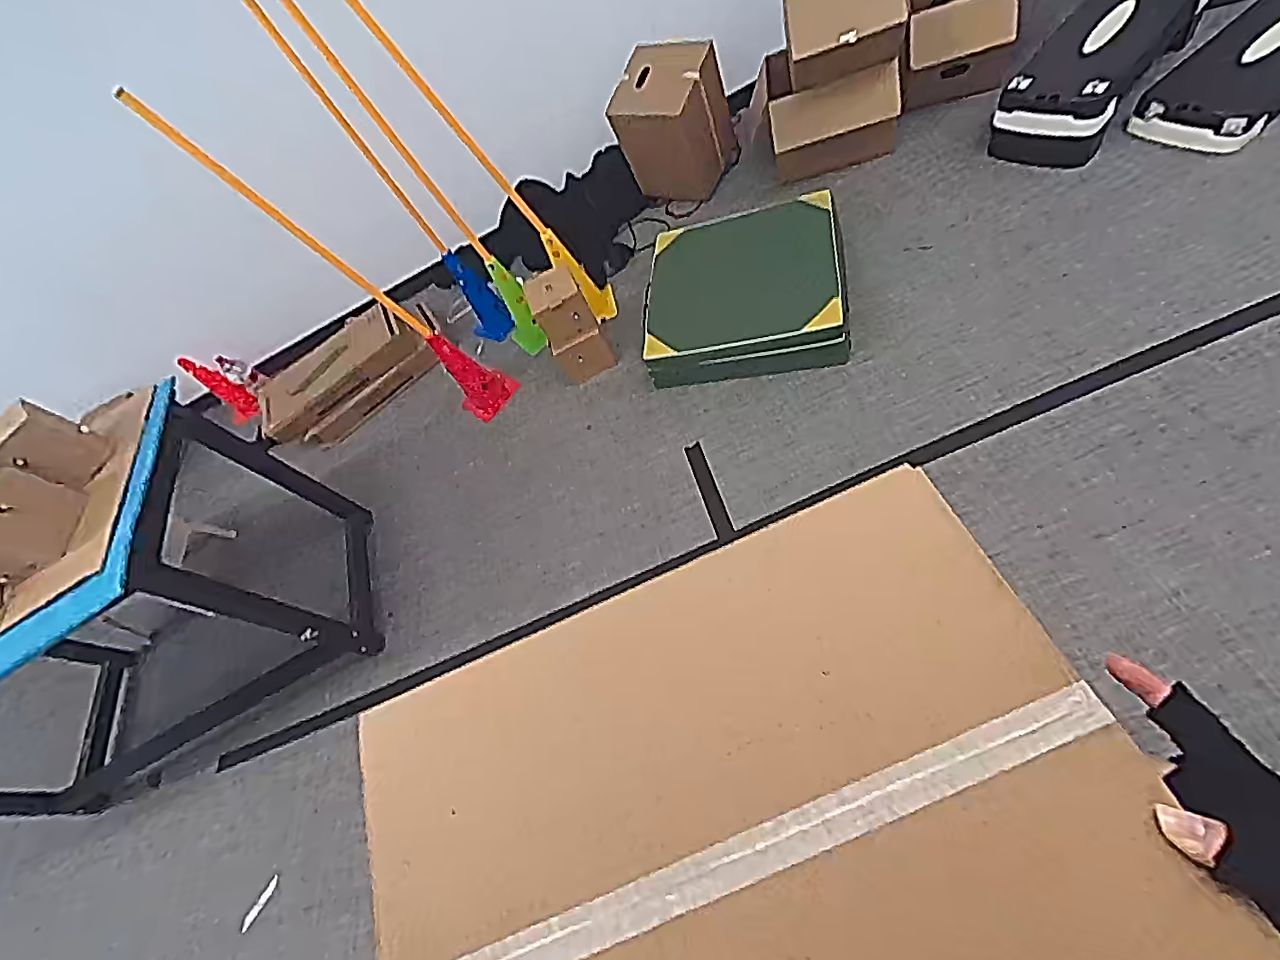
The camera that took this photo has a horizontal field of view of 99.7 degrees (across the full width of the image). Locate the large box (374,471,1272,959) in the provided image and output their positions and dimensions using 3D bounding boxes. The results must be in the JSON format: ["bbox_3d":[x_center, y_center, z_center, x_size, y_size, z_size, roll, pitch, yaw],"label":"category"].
[{"bbox_3d":[0.085,0.260,0.423,0.408,0.320,0.320,-26,60,2],"label":"large box"}]
